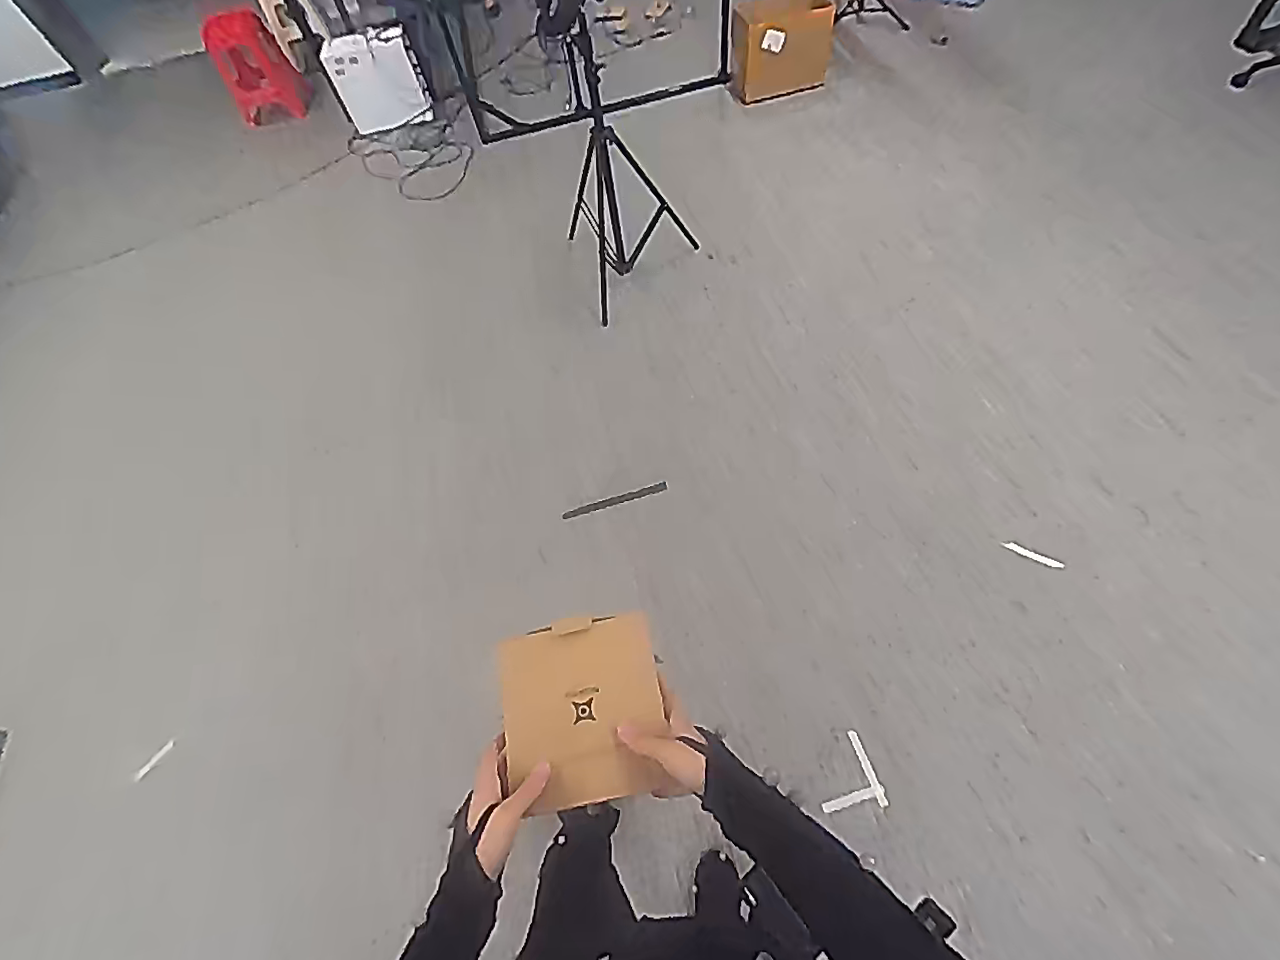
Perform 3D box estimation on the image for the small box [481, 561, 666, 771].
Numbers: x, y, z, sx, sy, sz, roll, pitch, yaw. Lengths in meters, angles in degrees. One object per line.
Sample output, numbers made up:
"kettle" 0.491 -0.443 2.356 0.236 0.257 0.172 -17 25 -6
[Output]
"small box" -0.069 0.209 0.595 0.168 0.176 0.179 -10 64 -3
